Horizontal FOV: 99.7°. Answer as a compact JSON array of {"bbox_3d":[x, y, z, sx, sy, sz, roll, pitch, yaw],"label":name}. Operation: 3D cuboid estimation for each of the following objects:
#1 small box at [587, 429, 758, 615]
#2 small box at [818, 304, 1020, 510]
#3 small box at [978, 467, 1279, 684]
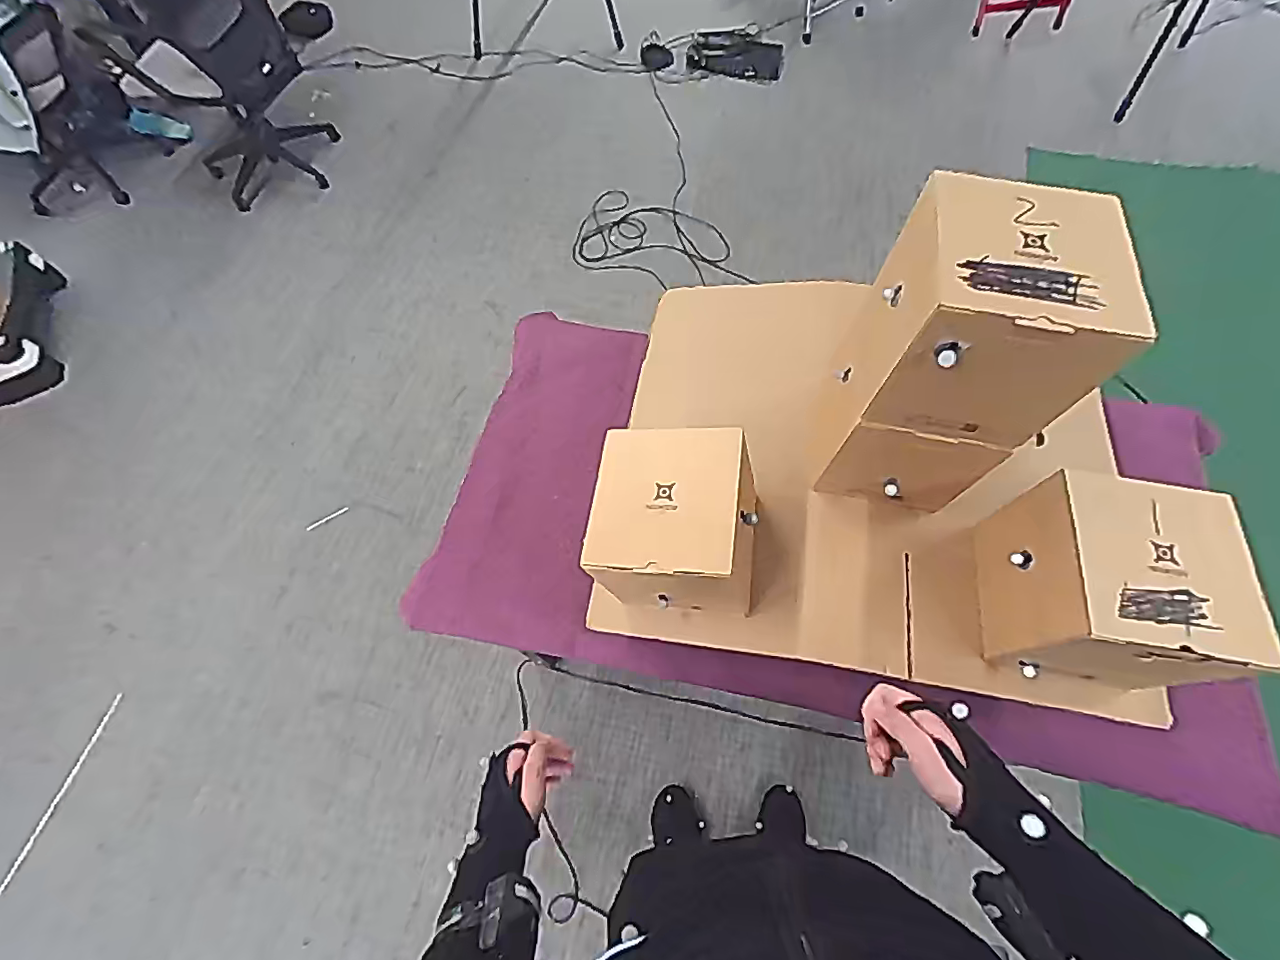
[{"bbox_3d":[0.053,0.054,0.660,0.168,0.176,0.179,1,65,17],"label":"small box"},{"bbox_3d":[0.331,-0.084,0.675,0.168,0.176,0.179,11,65,5],"label":"small box"},{"bbox_3d":[0.497,0.112,0.583,0.168,0.176,0.179,10,64,4],"label":"small box"}]
